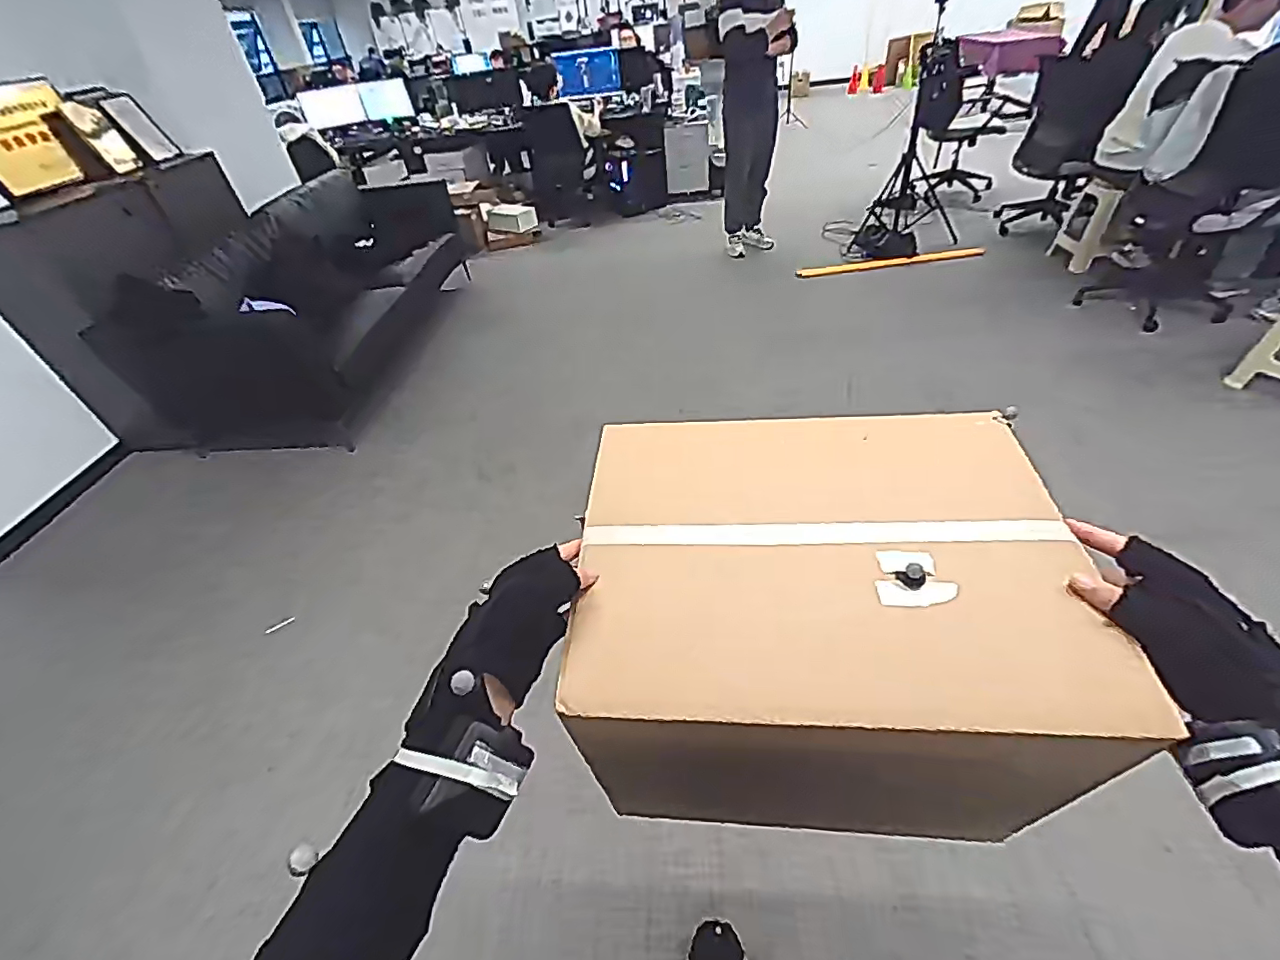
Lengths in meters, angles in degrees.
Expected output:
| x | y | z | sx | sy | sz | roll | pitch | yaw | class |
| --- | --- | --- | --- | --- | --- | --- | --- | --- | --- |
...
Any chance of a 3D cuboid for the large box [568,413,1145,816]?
| x | y | z | sx | sy | sz | roll | pitch | yaw | class |
| --- | --- | --- | --- | --- | --- | --- | --- | --- | --- |
| 0.165 | 0.150 | 0.588 | 0.408 | 0.320 | 0.320 | -2 | 48 | 8 | large box |
